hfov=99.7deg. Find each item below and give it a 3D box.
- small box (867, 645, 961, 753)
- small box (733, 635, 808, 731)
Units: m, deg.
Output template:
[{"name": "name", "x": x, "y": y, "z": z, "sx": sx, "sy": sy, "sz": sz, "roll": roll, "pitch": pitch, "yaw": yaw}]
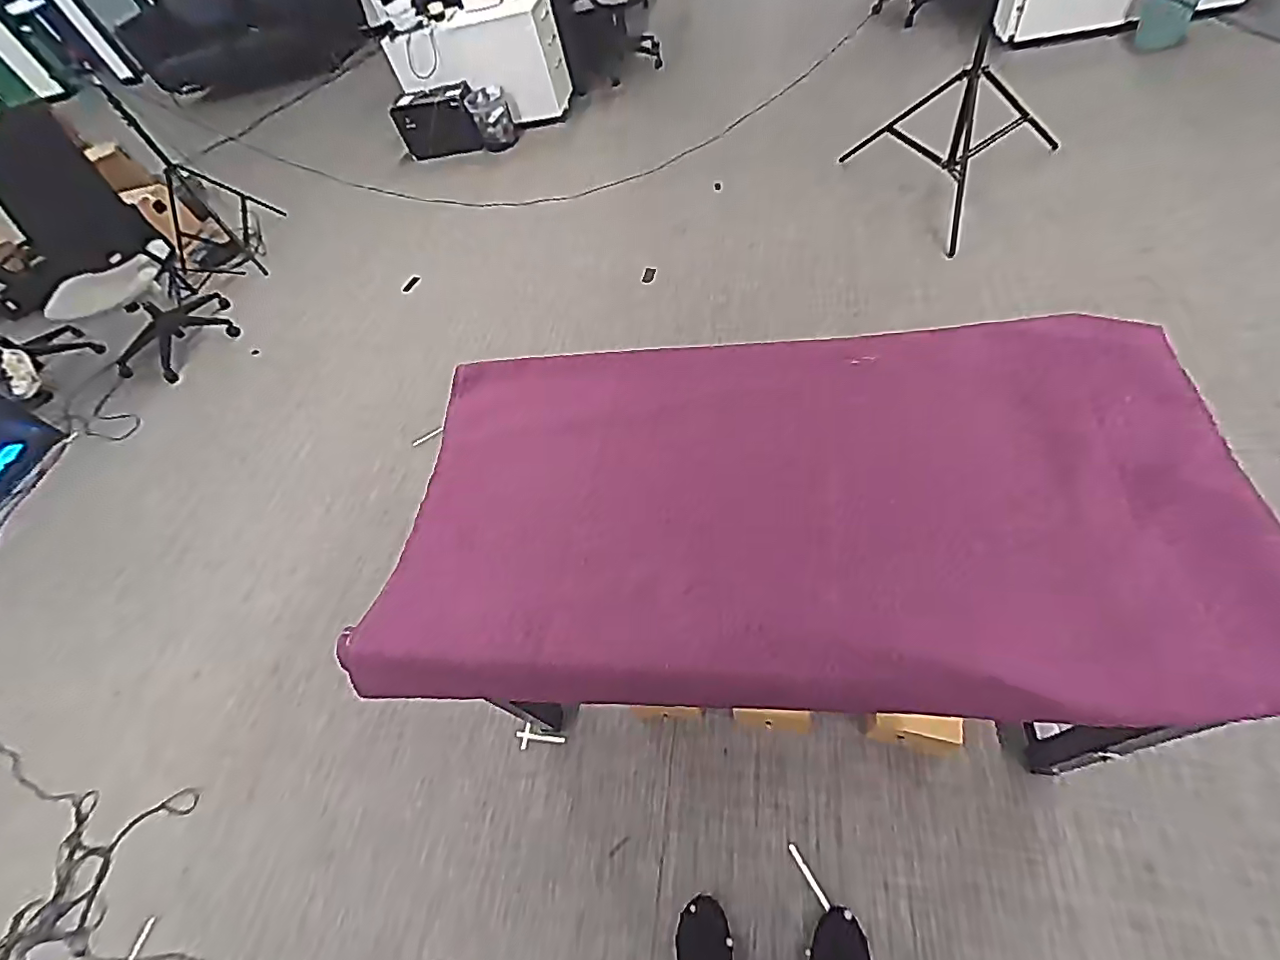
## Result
[{"name": "small box", "x": 0.616, "y": 0.500, "z": 1.227, "sx": 0.168, "sy": 0.176, "sz": 0.179, "roll": 7, "pitch": 57, "yaw": 19}, {"name": "small box", "x": 0.317, "y": 0.492, "z": 1.303, "sx": 0.168, "sy": 0.176, "sz": 0.179, "roll": 1, "pitch": 56, "yaw": 14}]
